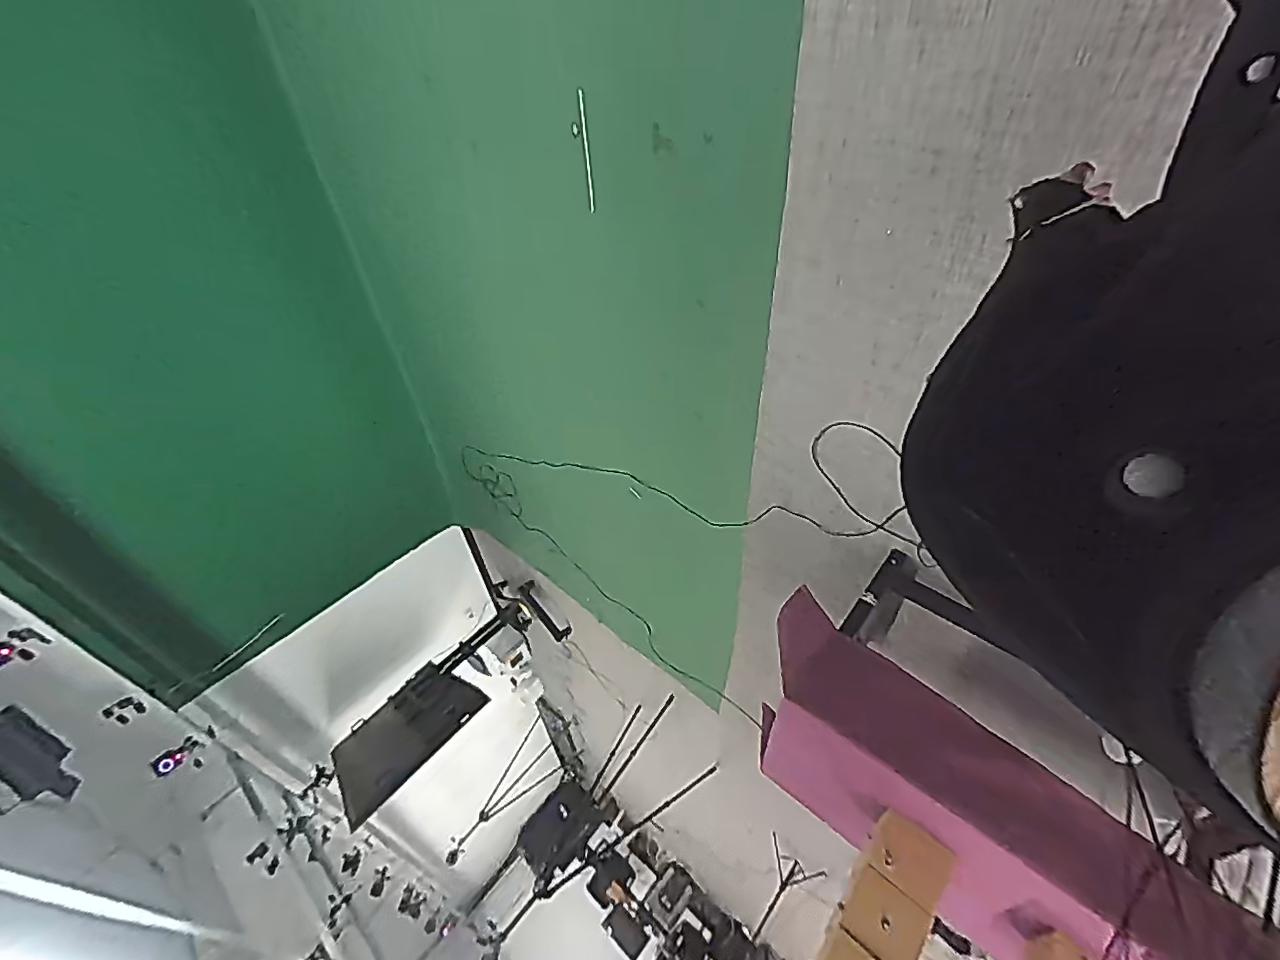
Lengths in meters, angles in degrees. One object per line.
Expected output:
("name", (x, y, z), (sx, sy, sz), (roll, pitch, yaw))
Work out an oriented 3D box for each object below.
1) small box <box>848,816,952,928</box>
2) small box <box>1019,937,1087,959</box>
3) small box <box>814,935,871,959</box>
("small box", (0.694, 1.039, 1.449), (0.179, 0.176, 0.168), (31, 143, 29))
("small box", (0.989, 1.209, 1.252), (0.168, 0.176, 0.179), (31, 143, 31))
("small box", (0.486, 1.209, 1.260), (0.179, 0.176, 0.168), (31, 143, 29))
